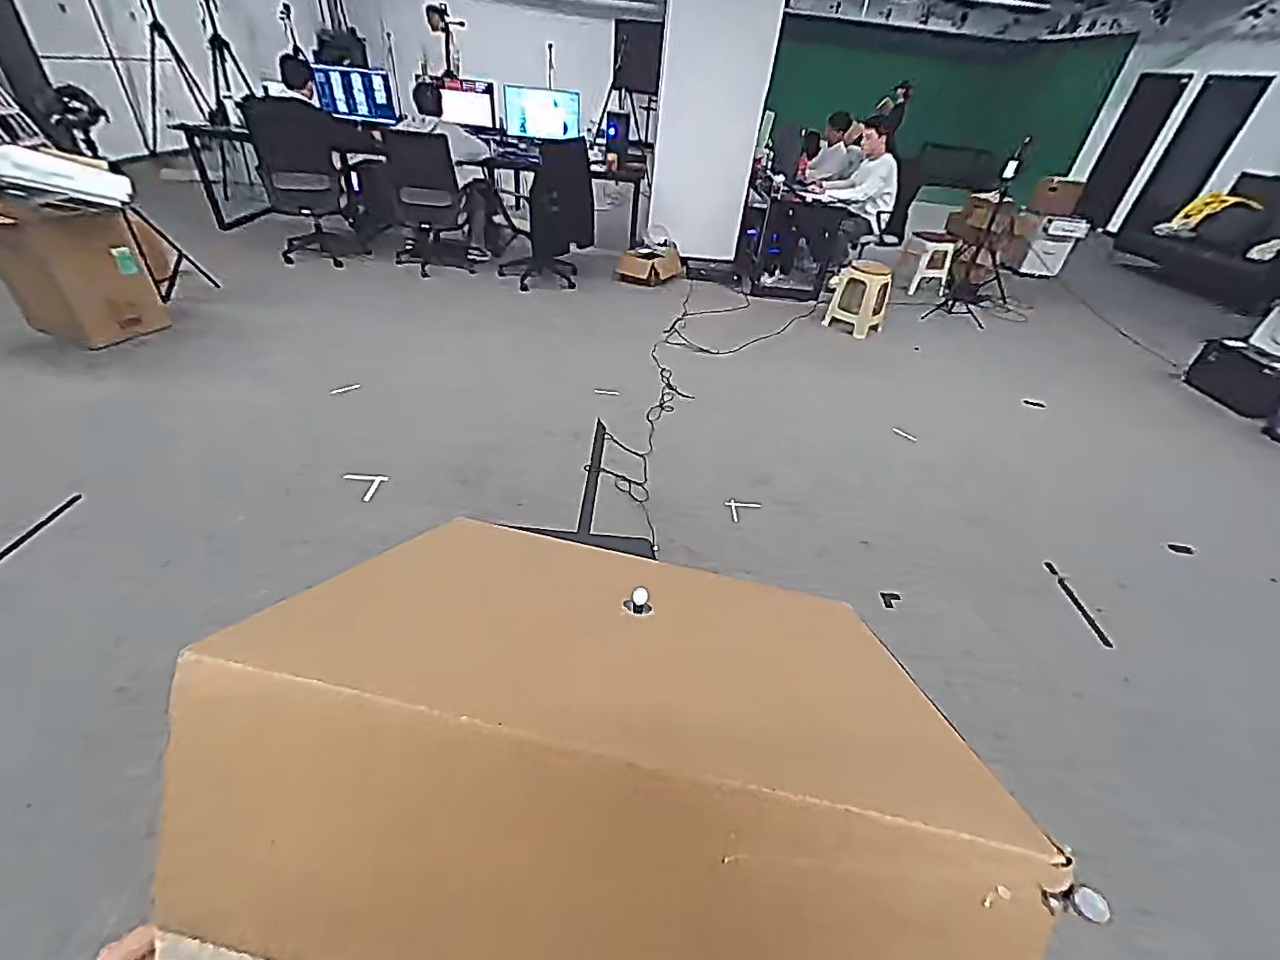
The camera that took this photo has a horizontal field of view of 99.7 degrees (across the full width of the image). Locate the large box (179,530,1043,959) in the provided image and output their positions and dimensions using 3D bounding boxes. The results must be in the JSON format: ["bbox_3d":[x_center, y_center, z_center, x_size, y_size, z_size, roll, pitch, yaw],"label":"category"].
[{"bbox_3d":[-0.030,0.247,0.416,0.408,0.320,0.320,11,9,3],"label":"large box"}]
